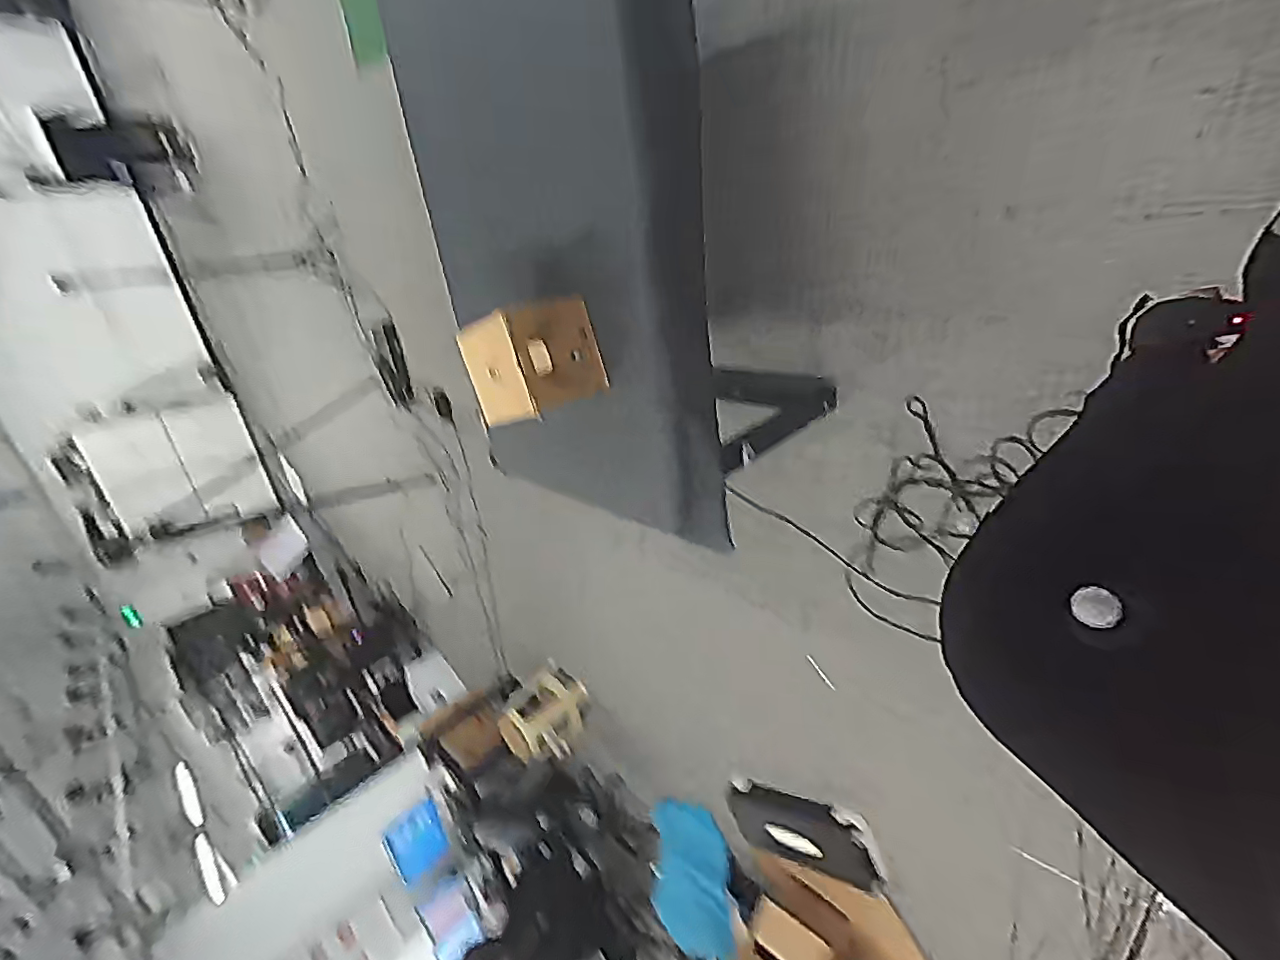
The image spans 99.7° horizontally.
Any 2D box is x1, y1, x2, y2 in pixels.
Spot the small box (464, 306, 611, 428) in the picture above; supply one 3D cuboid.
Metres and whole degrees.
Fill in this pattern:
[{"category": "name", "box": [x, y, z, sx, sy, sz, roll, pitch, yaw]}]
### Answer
[{"category": "small box", "box": [-0.181, -0.201, 0.967, 0.179, 0.176, 0.168, -4, 108, 48]}]
